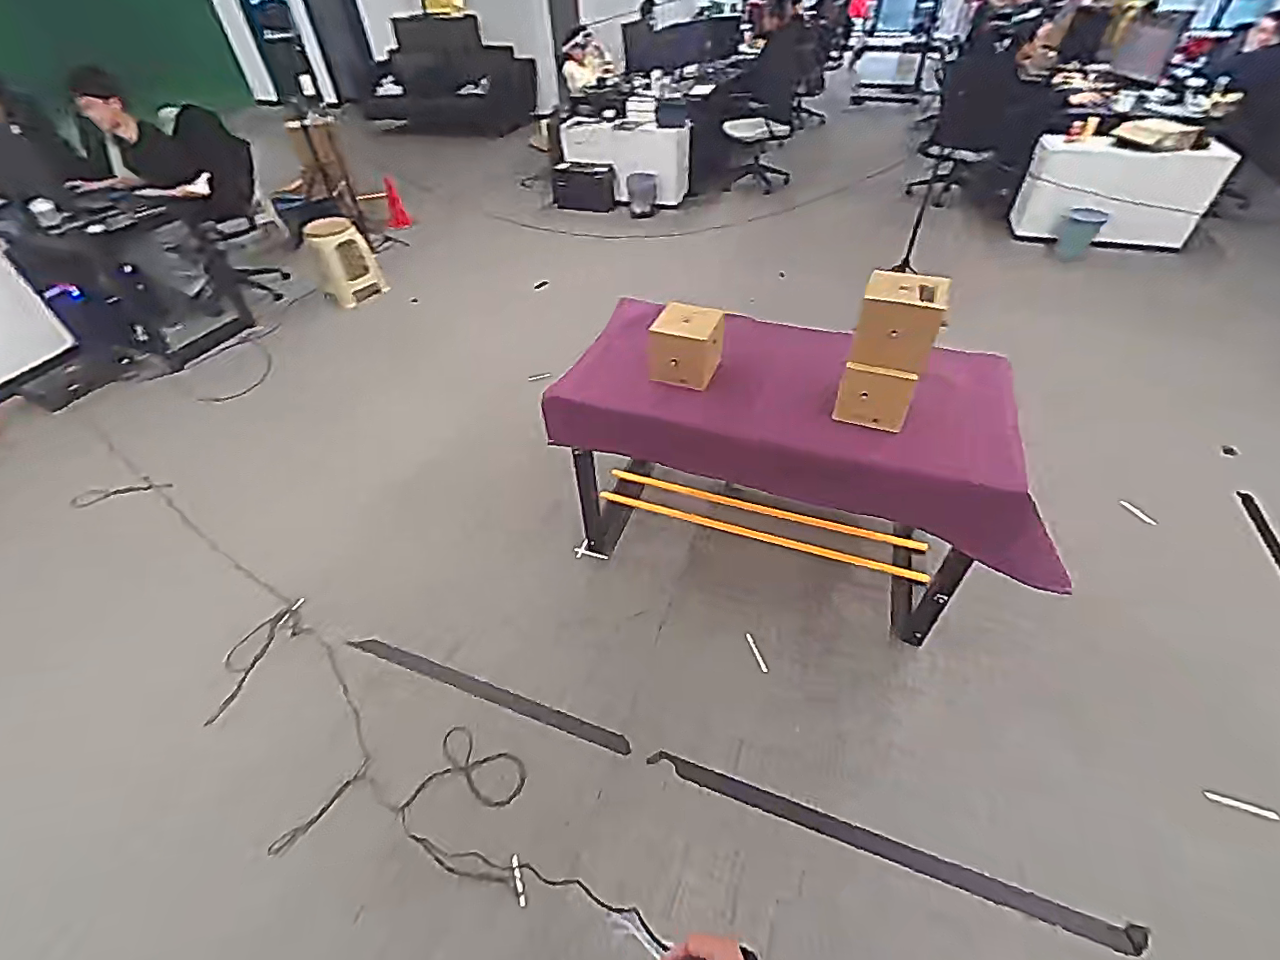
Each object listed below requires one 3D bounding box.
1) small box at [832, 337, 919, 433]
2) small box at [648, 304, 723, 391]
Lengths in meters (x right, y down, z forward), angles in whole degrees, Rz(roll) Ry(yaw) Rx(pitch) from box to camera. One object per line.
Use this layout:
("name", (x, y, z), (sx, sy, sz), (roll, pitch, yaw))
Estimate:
("small box", (0.610, -0.246, 1.410), (0.168, 0.176, 0.179), (15, 46, 18))
("small box", (0.132, -0.382, 1.565), (0.168, 0.176, 0.179), (16, 47, 17))
